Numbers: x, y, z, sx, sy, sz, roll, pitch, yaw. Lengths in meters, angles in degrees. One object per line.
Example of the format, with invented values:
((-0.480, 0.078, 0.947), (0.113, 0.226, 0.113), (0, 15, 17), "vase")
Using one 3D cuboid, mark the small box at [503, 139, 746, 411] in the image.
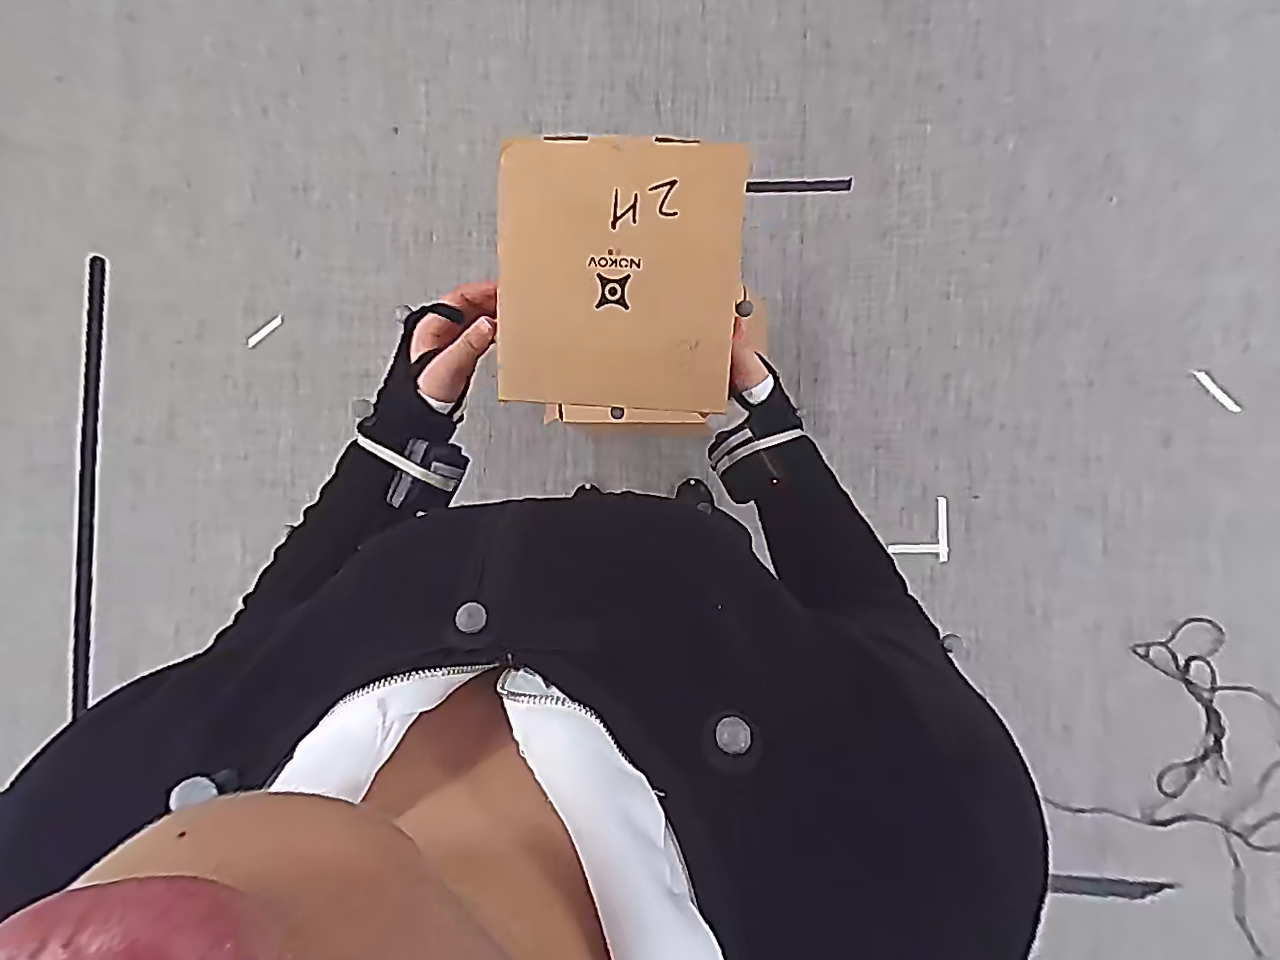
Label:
((-0.008, -0.156, 0.455), (0.168, 0.176, 0.179), (4, 101, 4), "small box")
